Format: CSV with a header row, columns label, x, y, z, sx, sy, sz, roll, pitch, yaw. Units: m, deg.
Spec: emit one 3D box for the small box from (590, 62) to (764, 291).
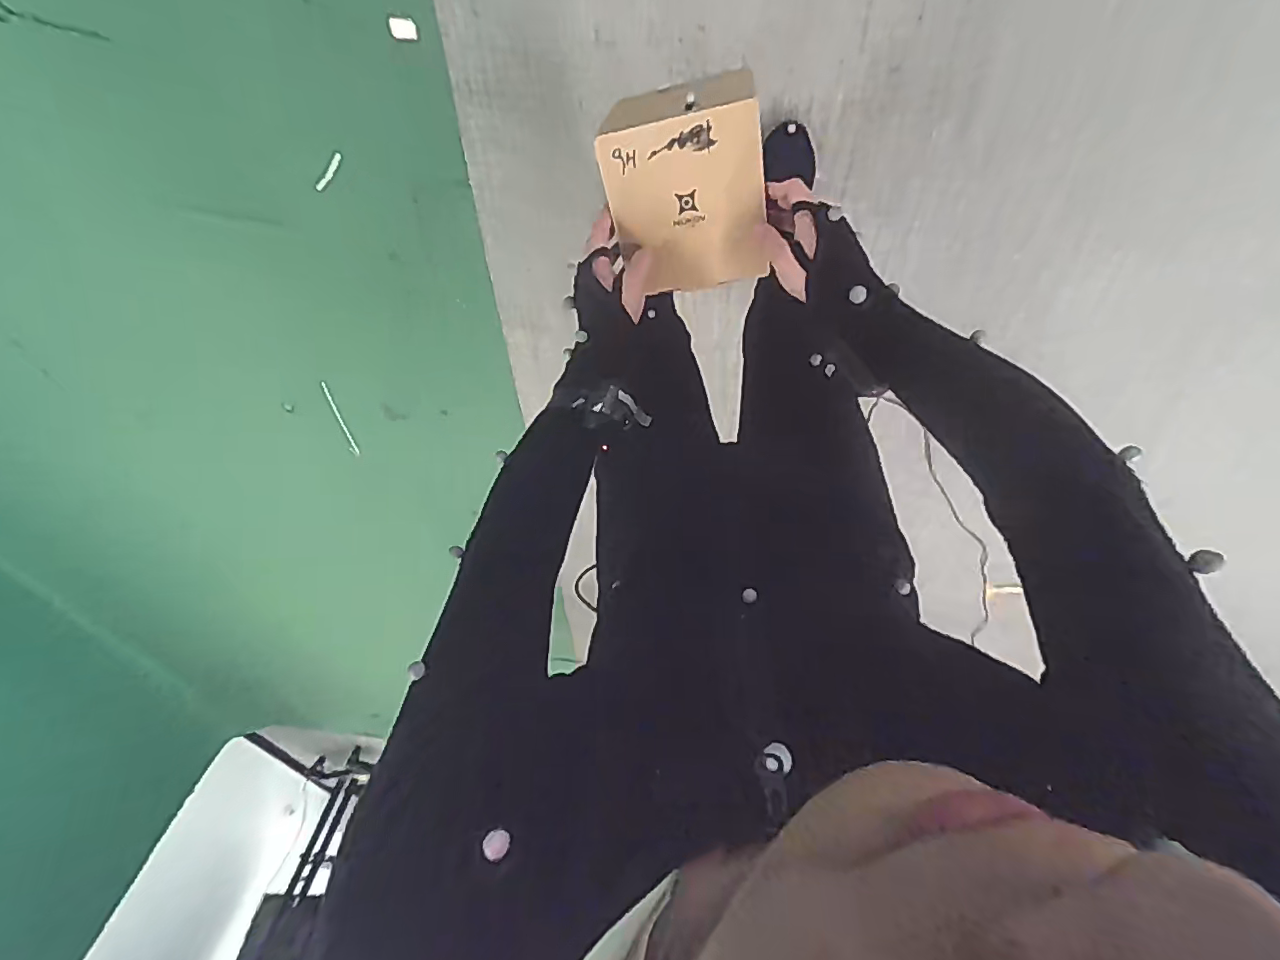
label,x,y,z,sx,sy,sz,roll,pitch,yaw
small box,0.056,-0.348,0.628,0.168,0.176,0.179,-4,134,14
